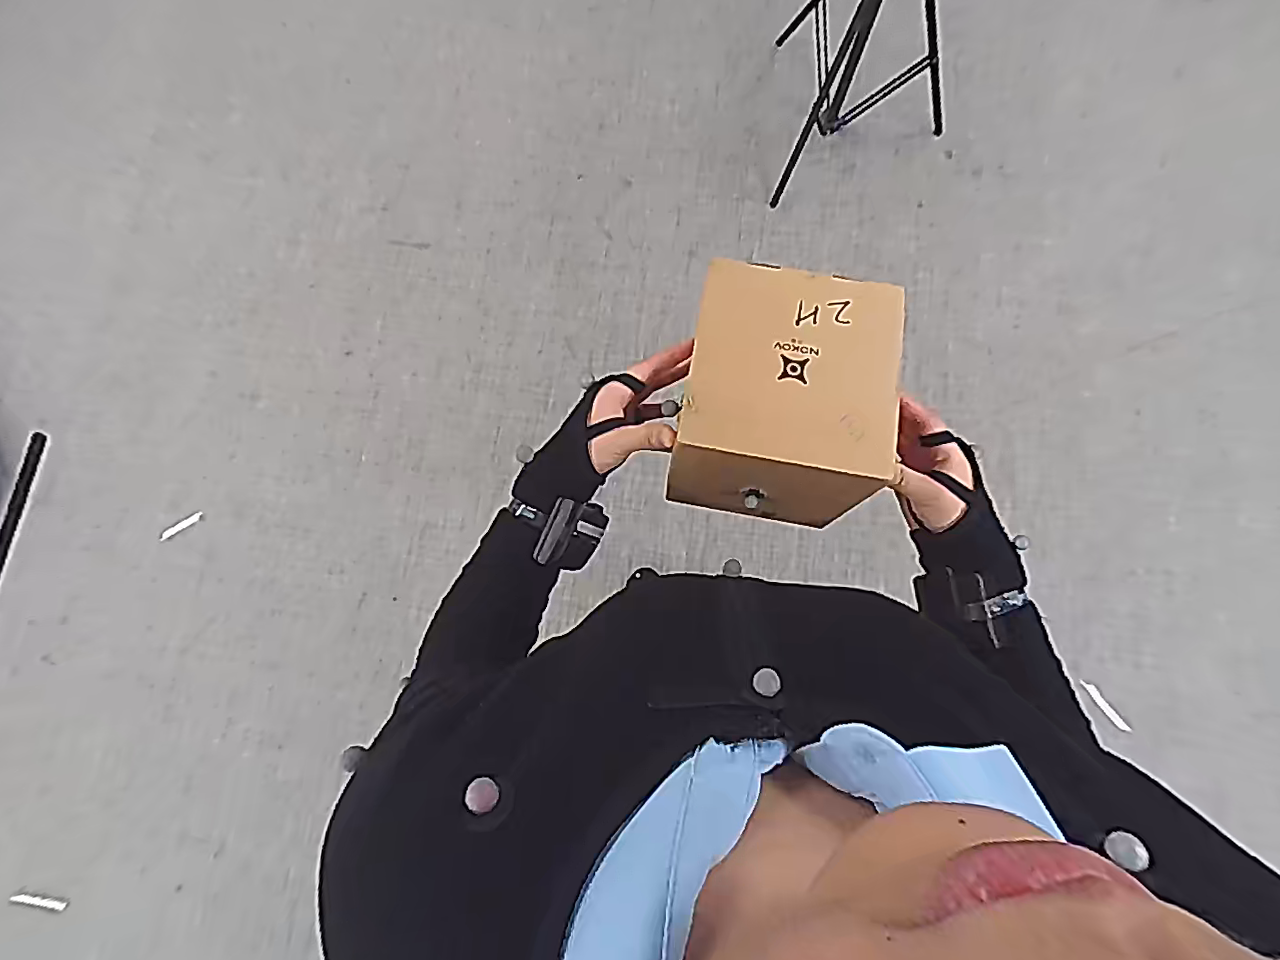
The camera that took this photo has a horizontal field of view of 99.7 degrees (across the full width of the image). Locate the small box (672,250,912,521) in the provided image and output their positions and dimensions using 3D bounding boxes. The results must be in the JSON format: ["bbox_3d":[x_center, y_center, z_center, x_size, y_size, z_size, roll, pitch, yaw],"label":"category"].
[{"bbox_3d":[0.125,-0.072,0.497,0.168,0.176,0.179,11,72,3],"label":"small box"}]
